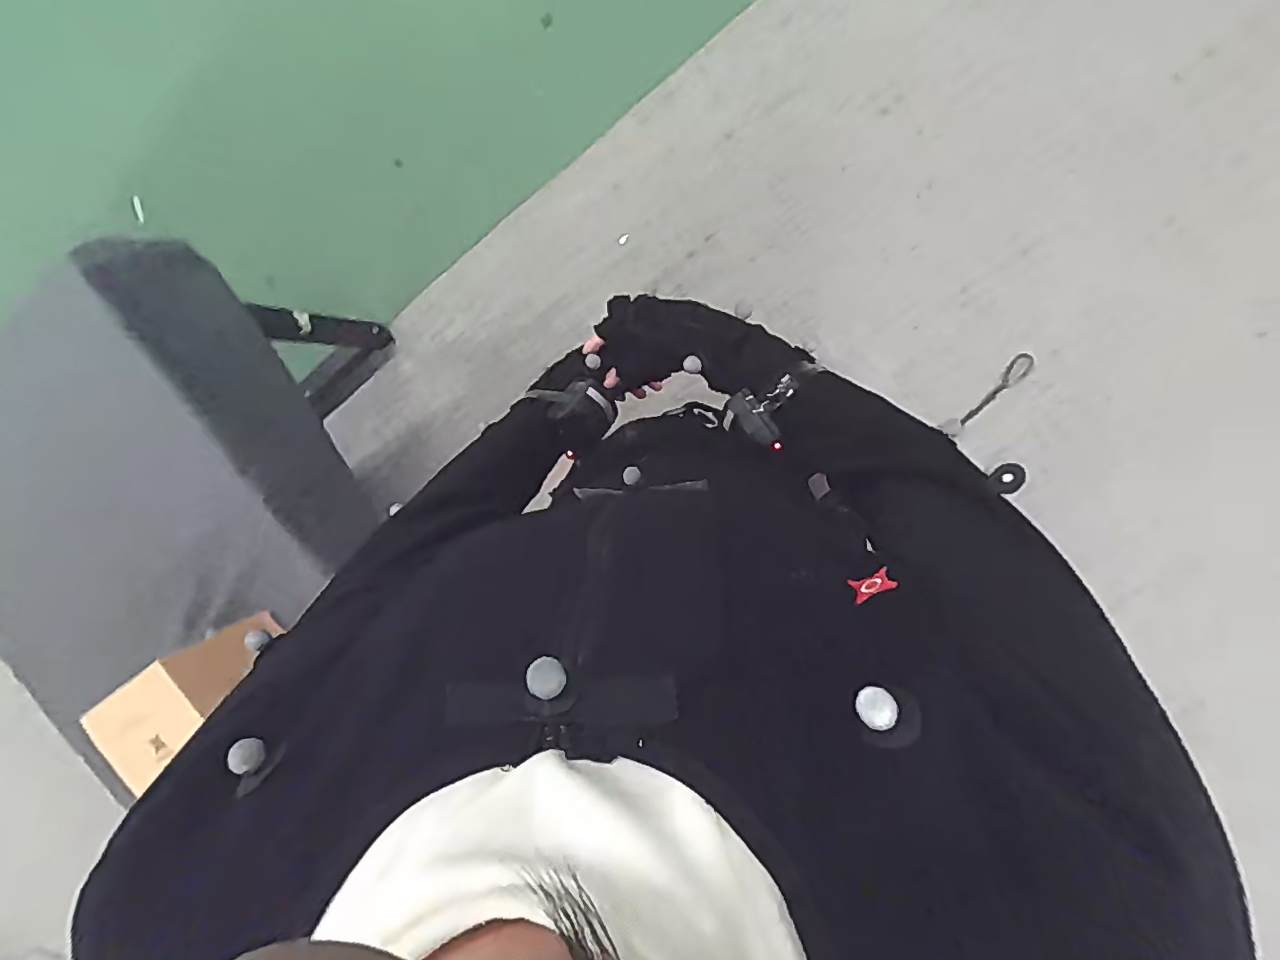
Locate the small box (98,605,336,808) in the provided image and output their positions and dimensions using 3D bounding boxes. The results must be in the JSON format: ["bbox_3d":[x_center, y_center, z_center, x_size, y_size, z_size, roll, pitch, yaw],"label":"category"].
[{"bbox_3d":[-0.585,0.310,0.773,0.168,0.176,0.179,-34,92,13],"label":"small box"}]
